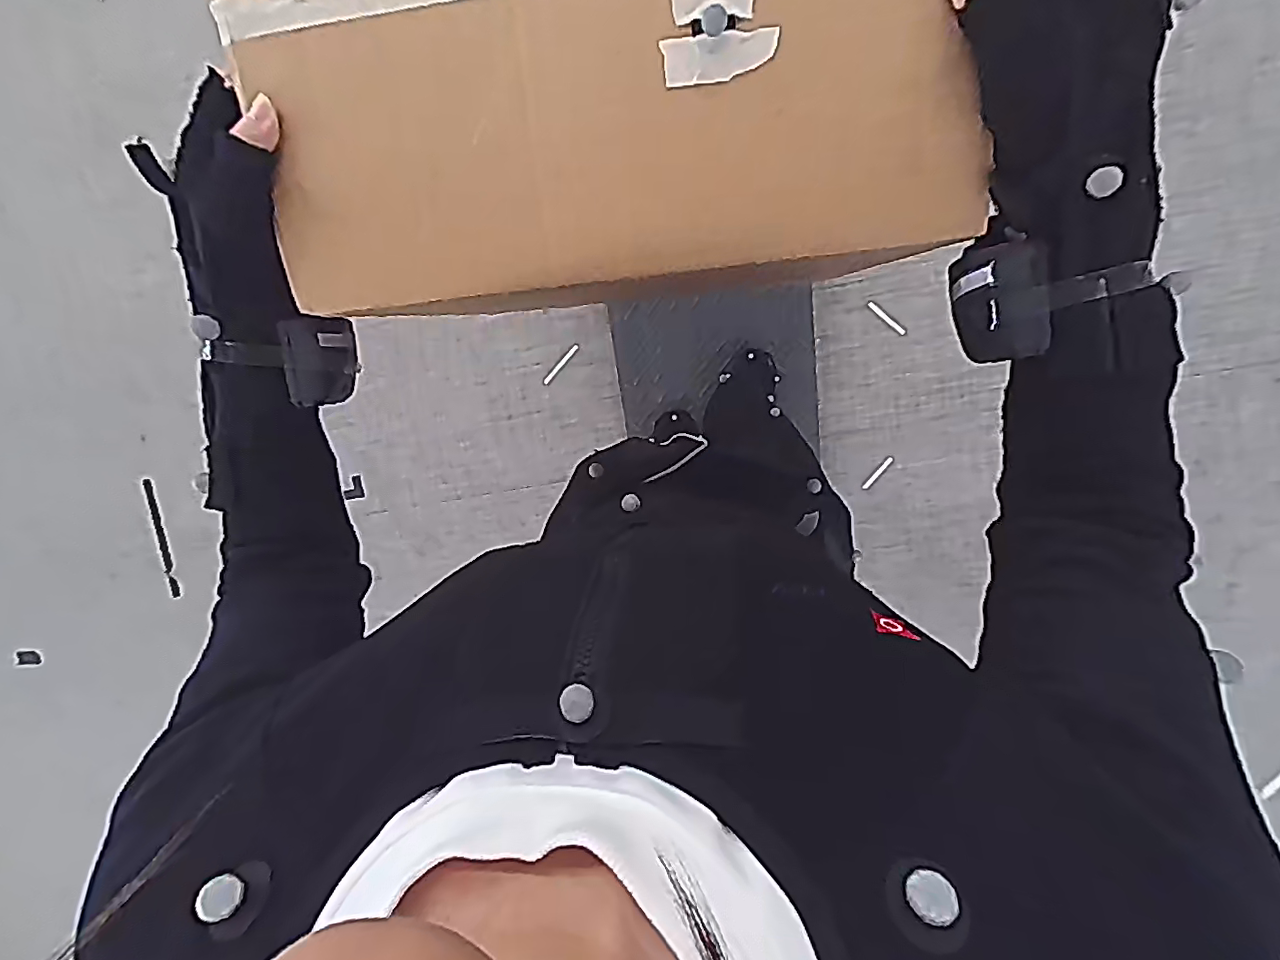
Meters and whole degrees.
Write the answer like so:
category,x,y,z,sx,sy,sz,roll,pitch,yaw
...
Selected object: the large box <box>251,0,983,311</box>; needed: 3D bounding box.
category,x,y,z,sx,sy,sz,roll,pitch,yaw
large box,-0.013,-0.319,0.428,0.408,0.320,0.320,-4,107,7
